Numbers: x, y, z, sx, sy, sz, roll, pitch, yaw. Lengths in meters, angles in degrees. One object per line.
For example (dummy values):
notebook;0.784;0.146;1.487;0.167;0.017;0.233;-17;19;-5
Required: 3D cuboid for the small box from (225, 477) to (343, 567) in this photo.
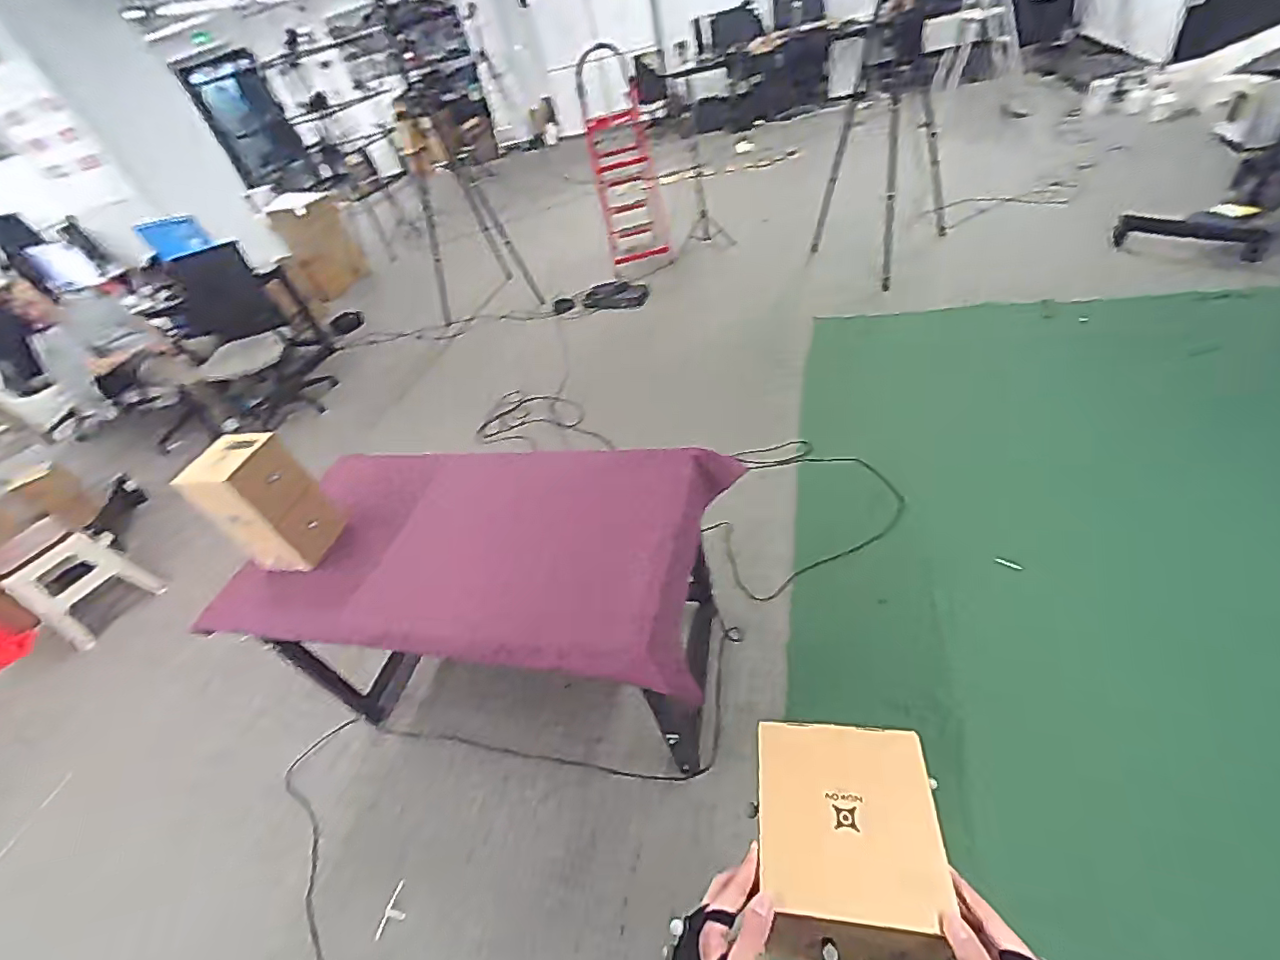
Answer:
small box;-0.937;0.109;1.448;0.168;0.176;0.179;-1;44;16
